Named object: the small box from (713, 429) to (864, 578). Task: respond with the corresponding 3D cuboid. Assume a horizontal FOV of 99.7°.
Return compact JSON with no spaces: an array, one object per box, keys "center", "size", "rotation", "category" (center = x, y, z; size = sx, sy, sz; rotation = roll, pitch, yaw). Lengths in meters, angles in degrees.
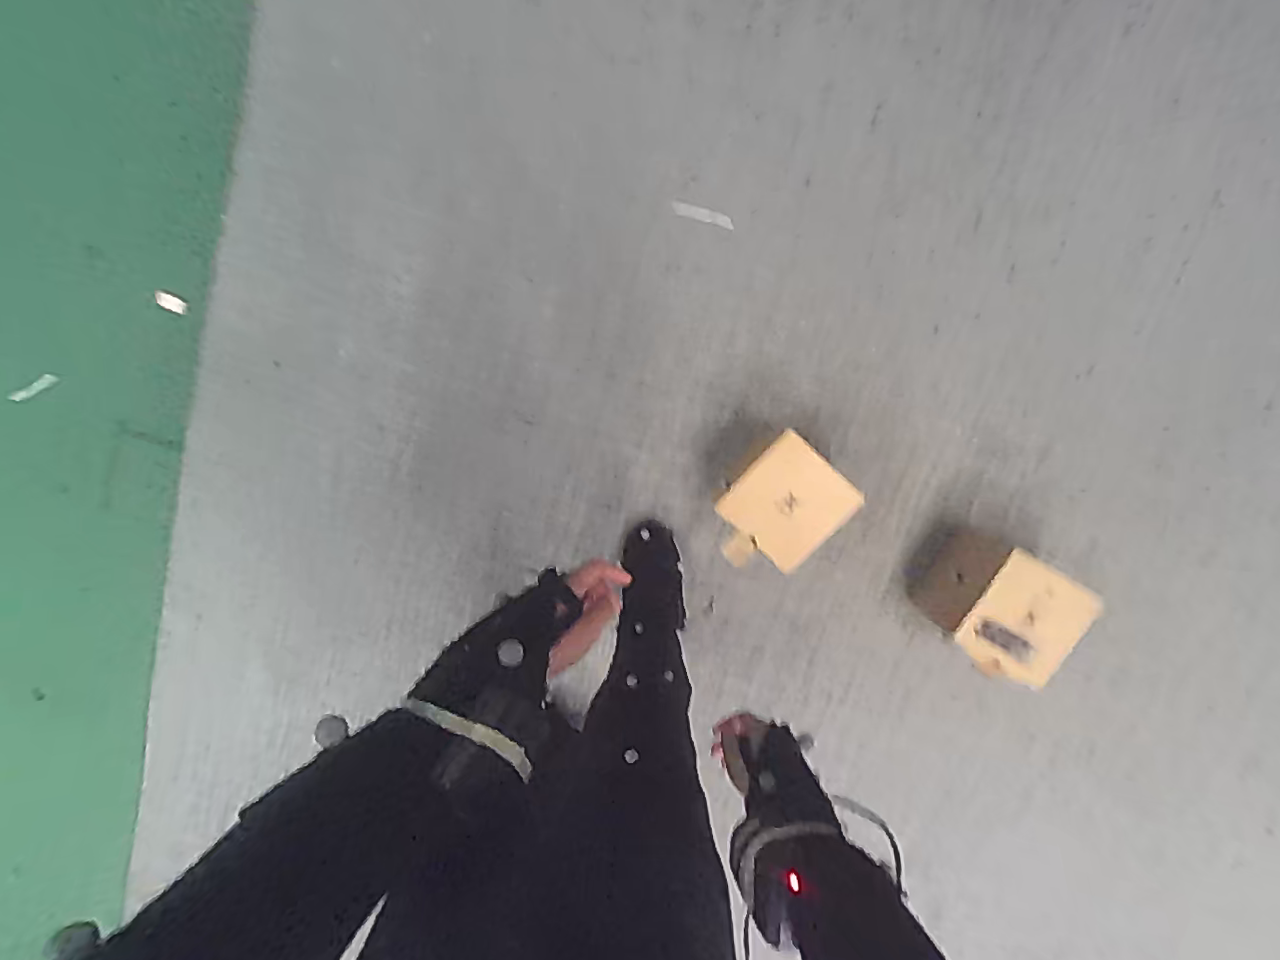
[{"center":[0.239,0.029,0.926],"size":[0.168,0.176,0.179],"rotation":[42,100,-3],"category":"small box"}]
